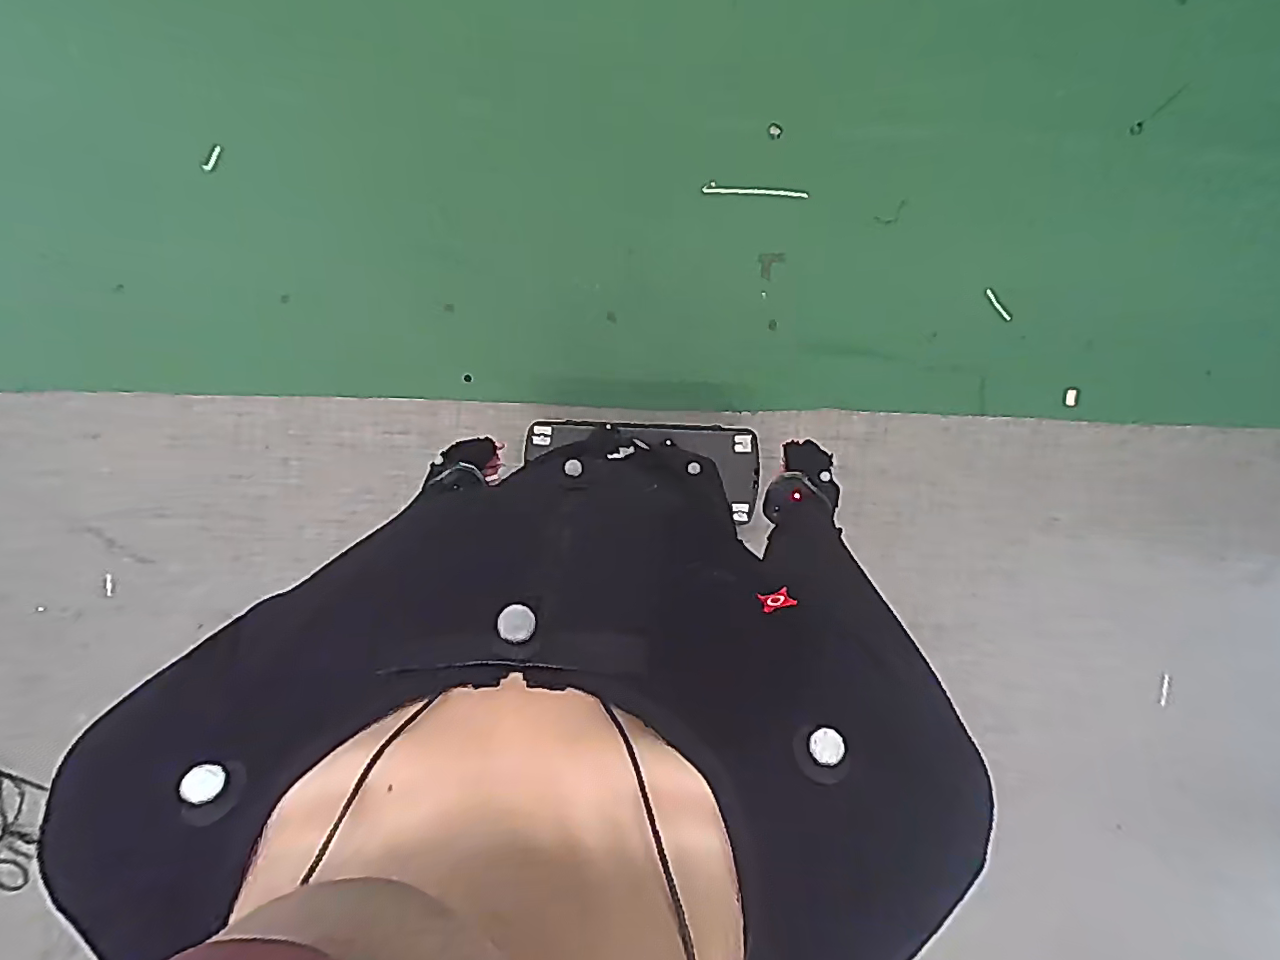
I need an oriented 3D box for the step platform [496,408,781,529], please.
[{"bbox_3d":[-0.004,-0.034,1.386,0.684,0.204,0.286,1,96,0],"label":"step platform"}]
